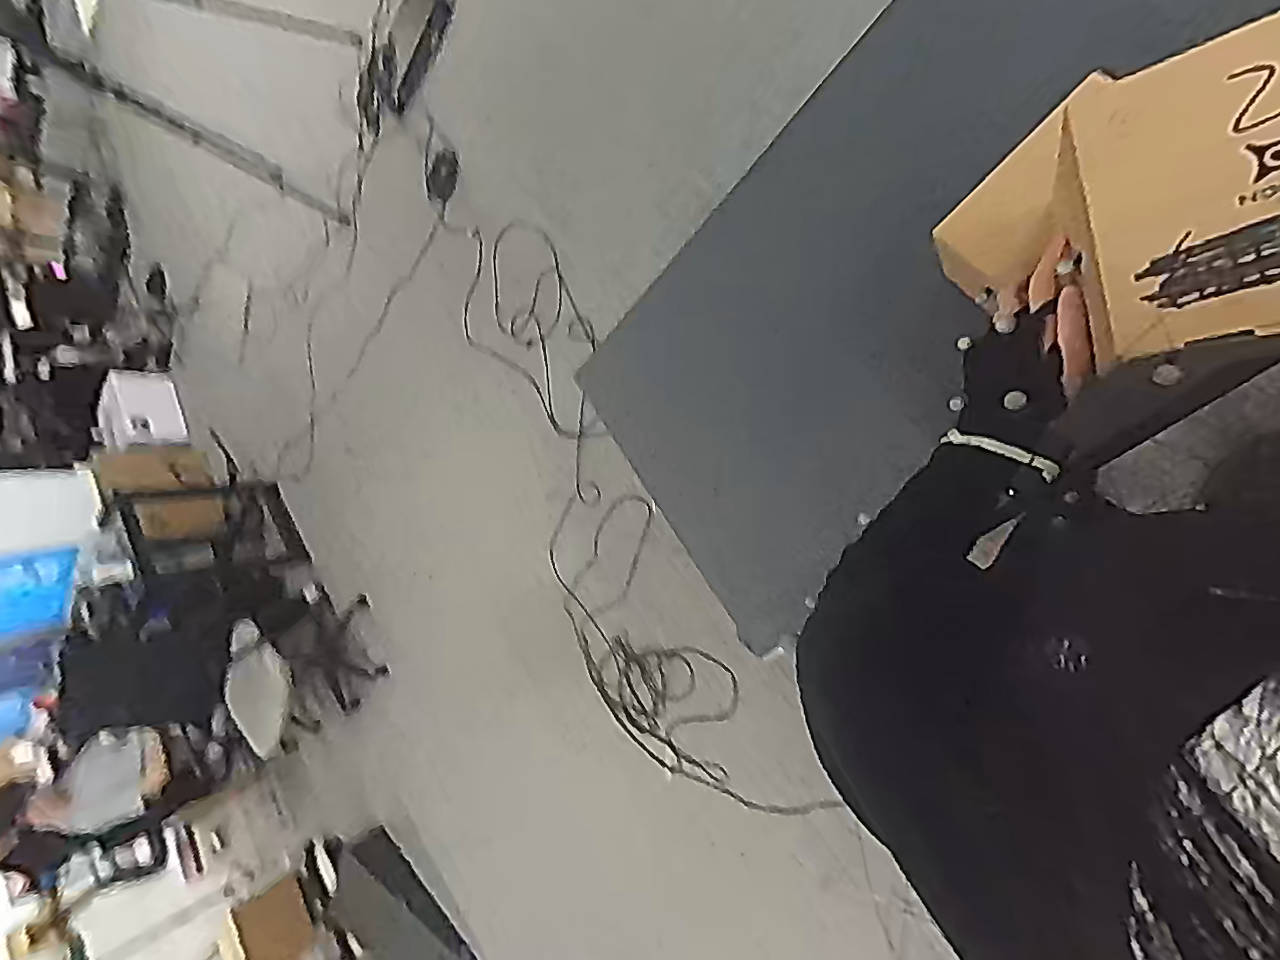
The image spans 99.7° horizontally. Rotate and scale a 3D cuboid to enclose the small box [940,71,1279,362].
[{"bbox_3d":[0.434,-0.236,0.532,0.168,0.176,0.179,-47,67,27],"label":"small box"}]
